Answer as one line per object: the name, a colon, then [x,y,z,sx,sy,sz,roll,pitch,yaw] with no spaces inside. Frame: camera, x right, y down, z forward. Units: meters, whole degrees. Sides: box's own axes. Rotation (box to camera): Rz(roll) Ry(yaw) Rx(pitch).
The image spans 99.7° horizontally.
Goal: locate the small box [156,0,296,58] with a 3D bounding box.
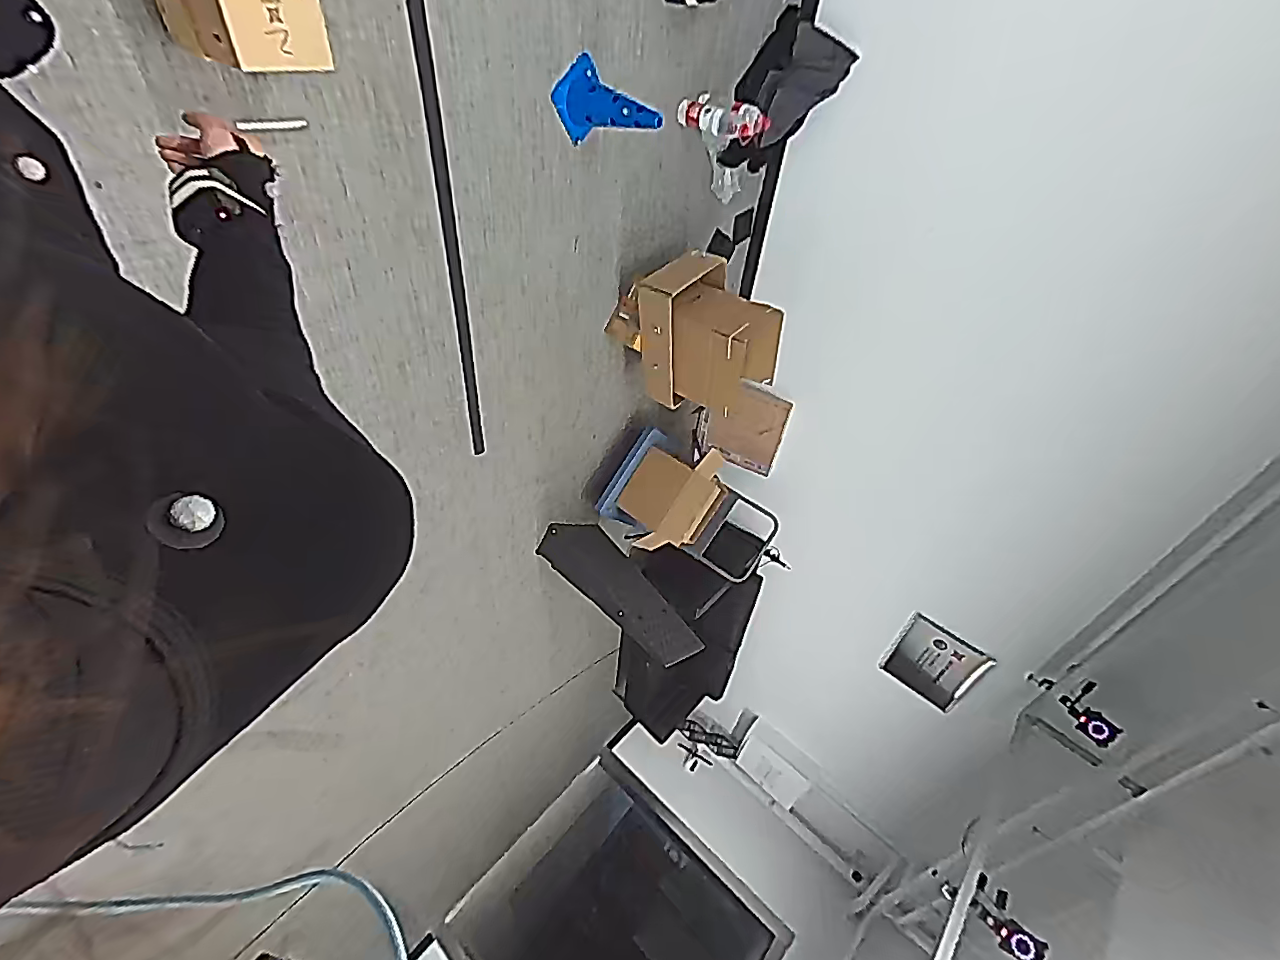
small box: [-0.815,-0.927,1.039,0.179,0.176,0.168,-37,147,-33]
